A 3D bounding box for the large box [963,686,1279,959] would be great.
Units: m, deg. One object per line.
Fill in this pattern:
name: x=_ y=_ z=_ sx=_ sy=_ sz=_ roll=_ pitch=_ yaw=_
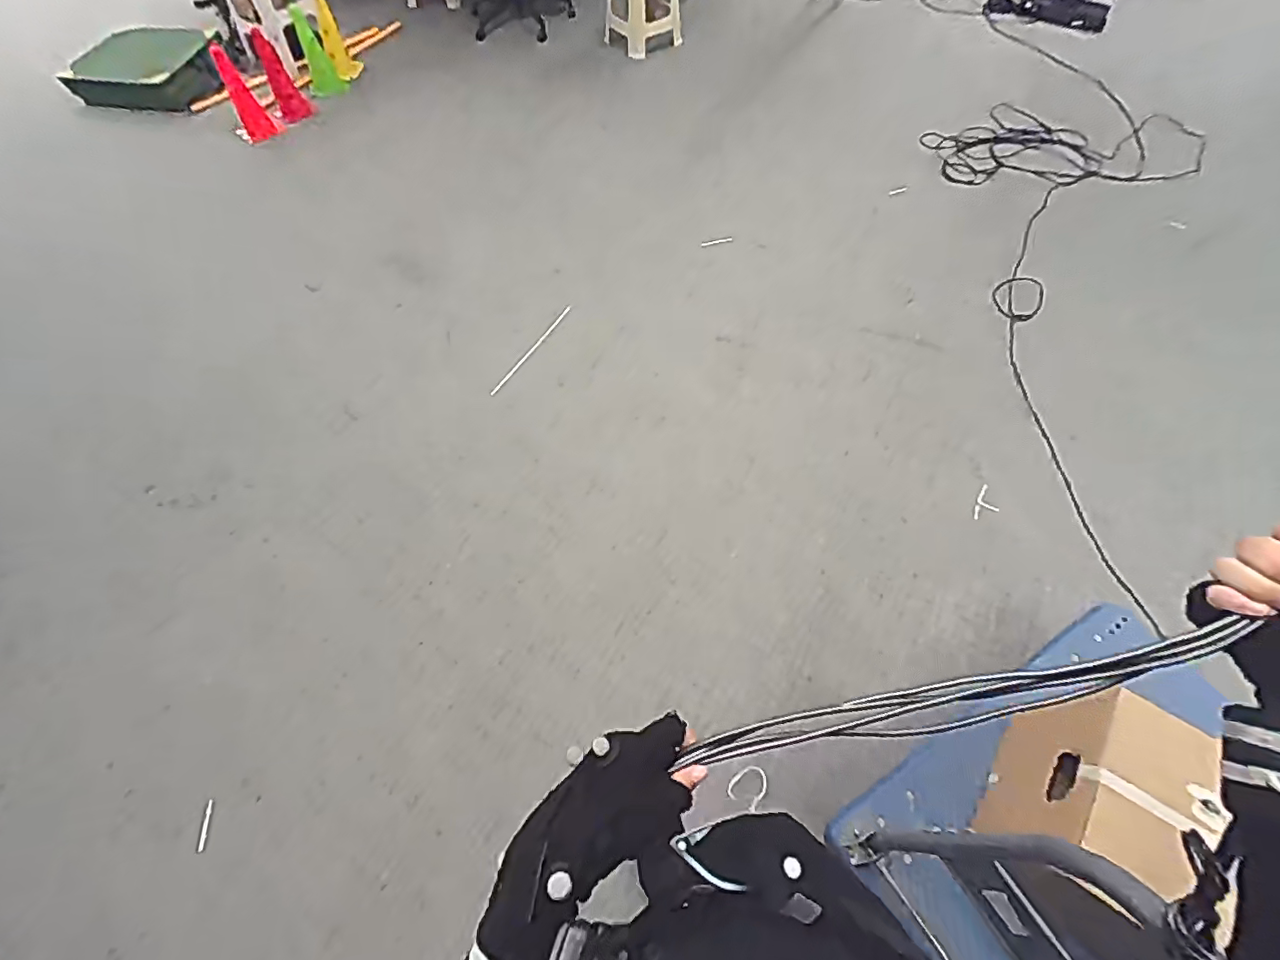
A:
large box: x=0.853 y=0.614 z=0.895 sx=0.408 sy=0.320 sz=0.320 roll=32 pitch=66 yaw=20
